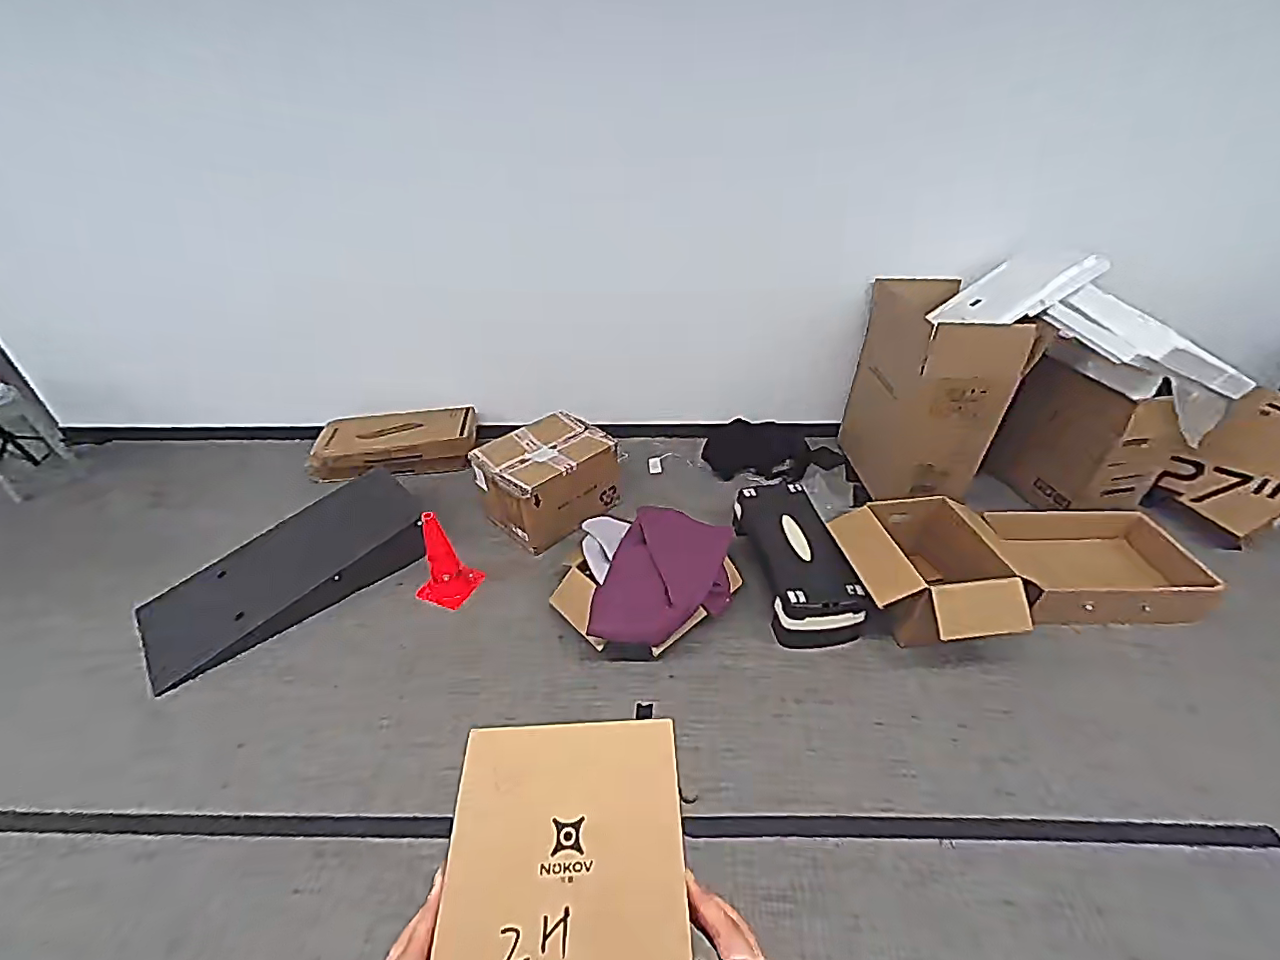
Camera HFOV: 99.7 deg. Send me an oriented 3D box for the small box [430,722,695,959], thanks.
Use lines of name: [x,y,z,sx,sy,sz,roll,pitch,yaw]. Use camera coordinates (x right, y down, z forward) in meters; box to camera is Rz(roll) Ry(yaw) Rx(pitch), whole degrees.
small box: [-0.048,0.315,0.426,0.168,0.176,0.179,-3,44,0]
